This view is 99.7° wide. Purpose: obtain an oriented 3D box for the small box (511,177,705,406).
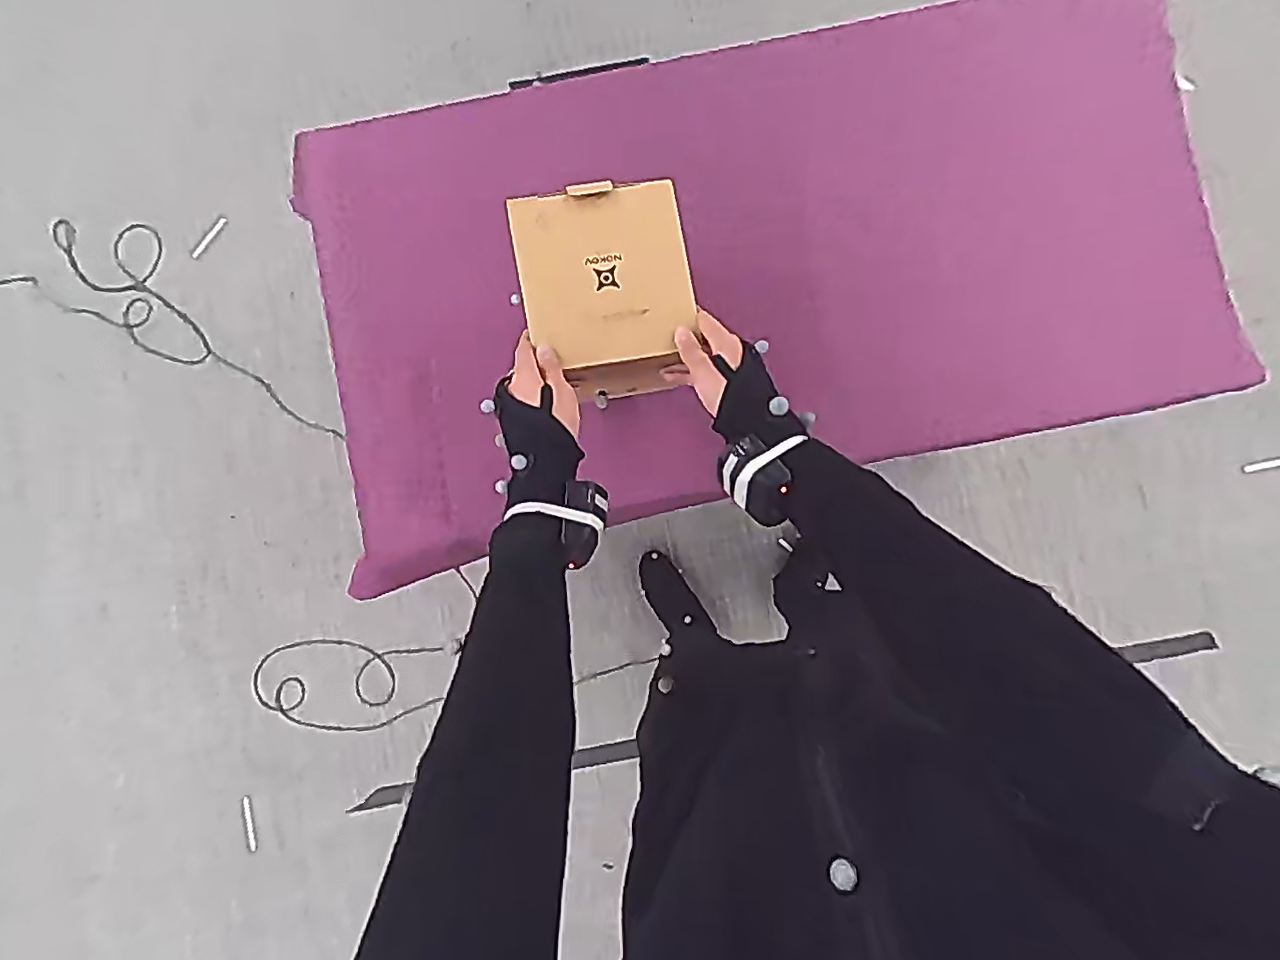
[{"bbox_3d":[-0.038,-0.193,0.592,0.168,0.176,0.179,-9,87,-6],"label":"small box"}]
